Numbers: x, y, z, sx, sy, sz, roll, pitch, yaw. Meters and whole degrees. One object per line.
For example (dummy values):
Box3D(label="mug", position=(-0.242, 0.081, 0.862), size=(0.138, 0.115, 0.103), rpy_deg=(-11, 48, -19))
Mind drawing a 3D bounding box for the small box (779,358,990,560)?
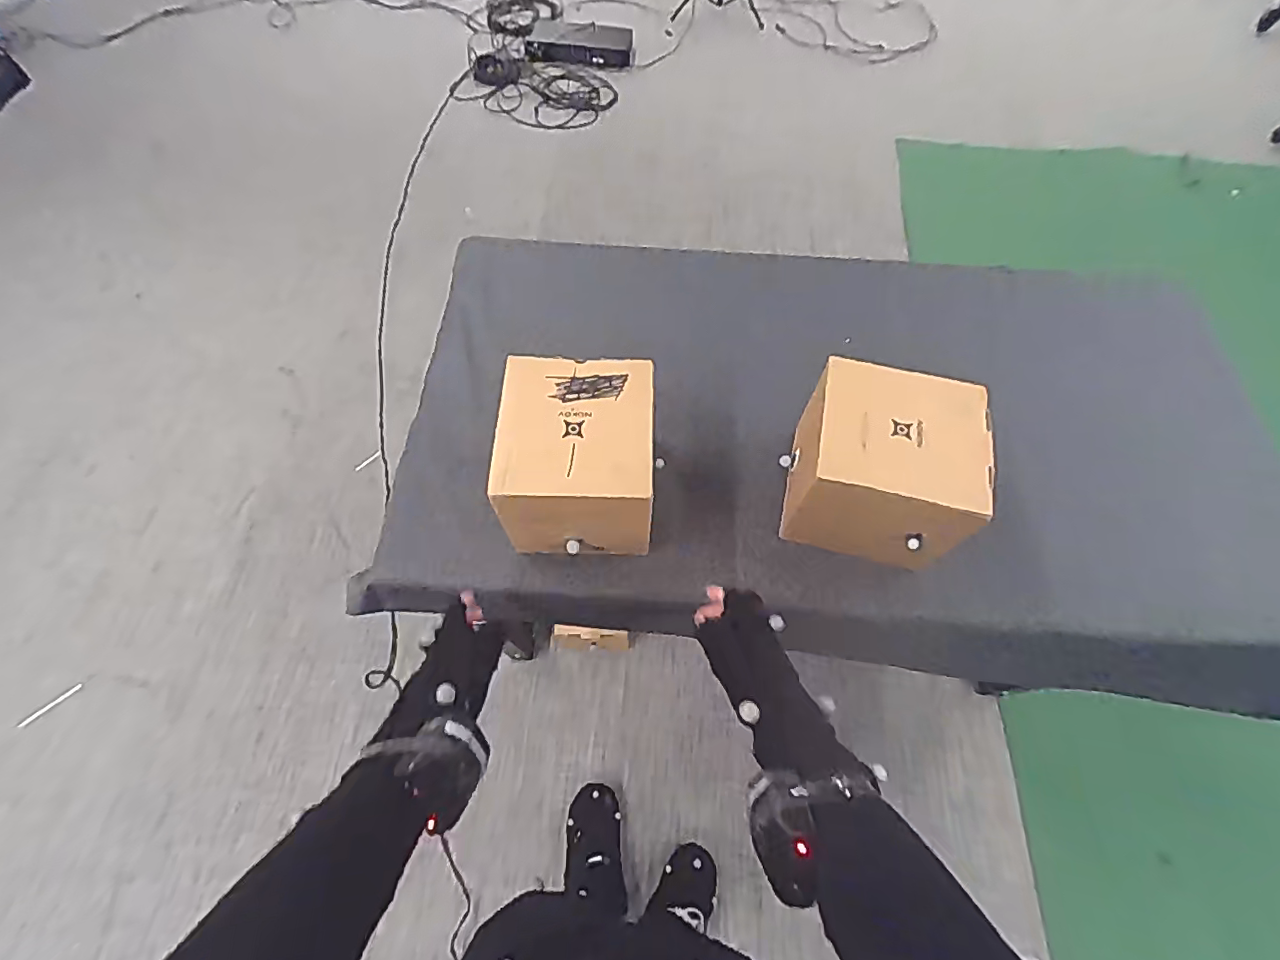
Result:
Box3D(label="small box", position=(0.281, -0.016, 0.650), size=(0.179, 0.176, 0.168), rpy_deg=(12, 62, 6))

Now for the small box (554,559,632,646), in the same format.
Box3D(label="small box", position=(-0.106, 0.299, 1.300), size=(0.168, 0.176, 0.179), rpy_deg=(1, 64, 0))

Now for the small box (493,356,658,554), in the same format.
Box3D(label="small box", position=(-0.065, -0.024, 0.645), size=(0.168, 0.176, 0.179), rpy_deg=(1, 63, 0))
